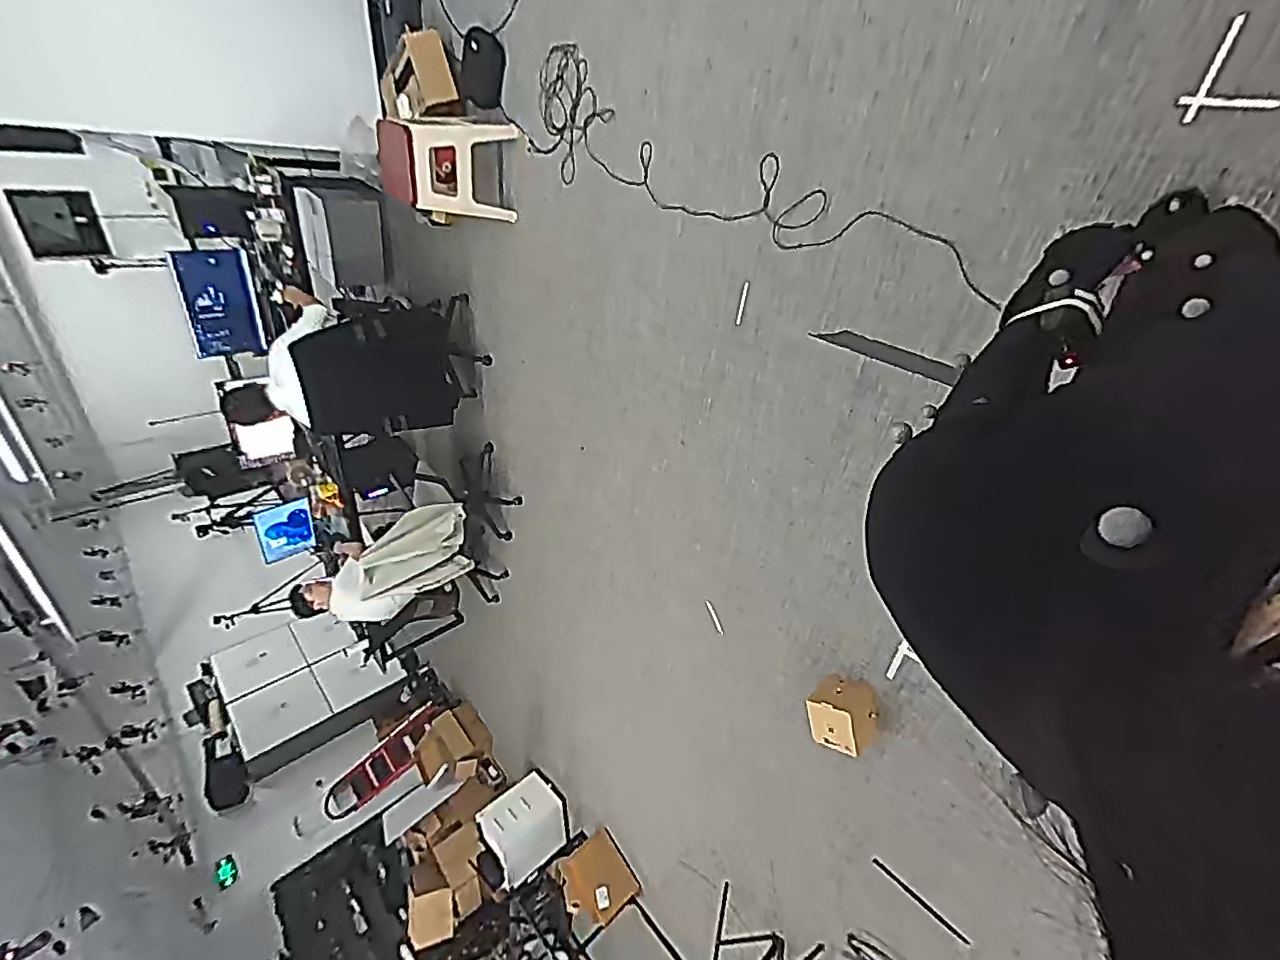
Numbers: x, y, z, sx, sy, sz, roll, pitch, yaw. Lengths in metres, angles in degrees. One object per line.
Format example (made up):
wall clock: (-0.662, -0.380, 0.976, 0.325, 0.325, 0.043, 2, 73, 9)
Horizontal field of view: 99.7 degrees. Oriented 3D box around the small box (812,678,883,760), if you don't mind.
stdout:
small box: (0.725, 0.823, 1.886, 0.168, 0.176, 0.179, 0, 107, 49)
